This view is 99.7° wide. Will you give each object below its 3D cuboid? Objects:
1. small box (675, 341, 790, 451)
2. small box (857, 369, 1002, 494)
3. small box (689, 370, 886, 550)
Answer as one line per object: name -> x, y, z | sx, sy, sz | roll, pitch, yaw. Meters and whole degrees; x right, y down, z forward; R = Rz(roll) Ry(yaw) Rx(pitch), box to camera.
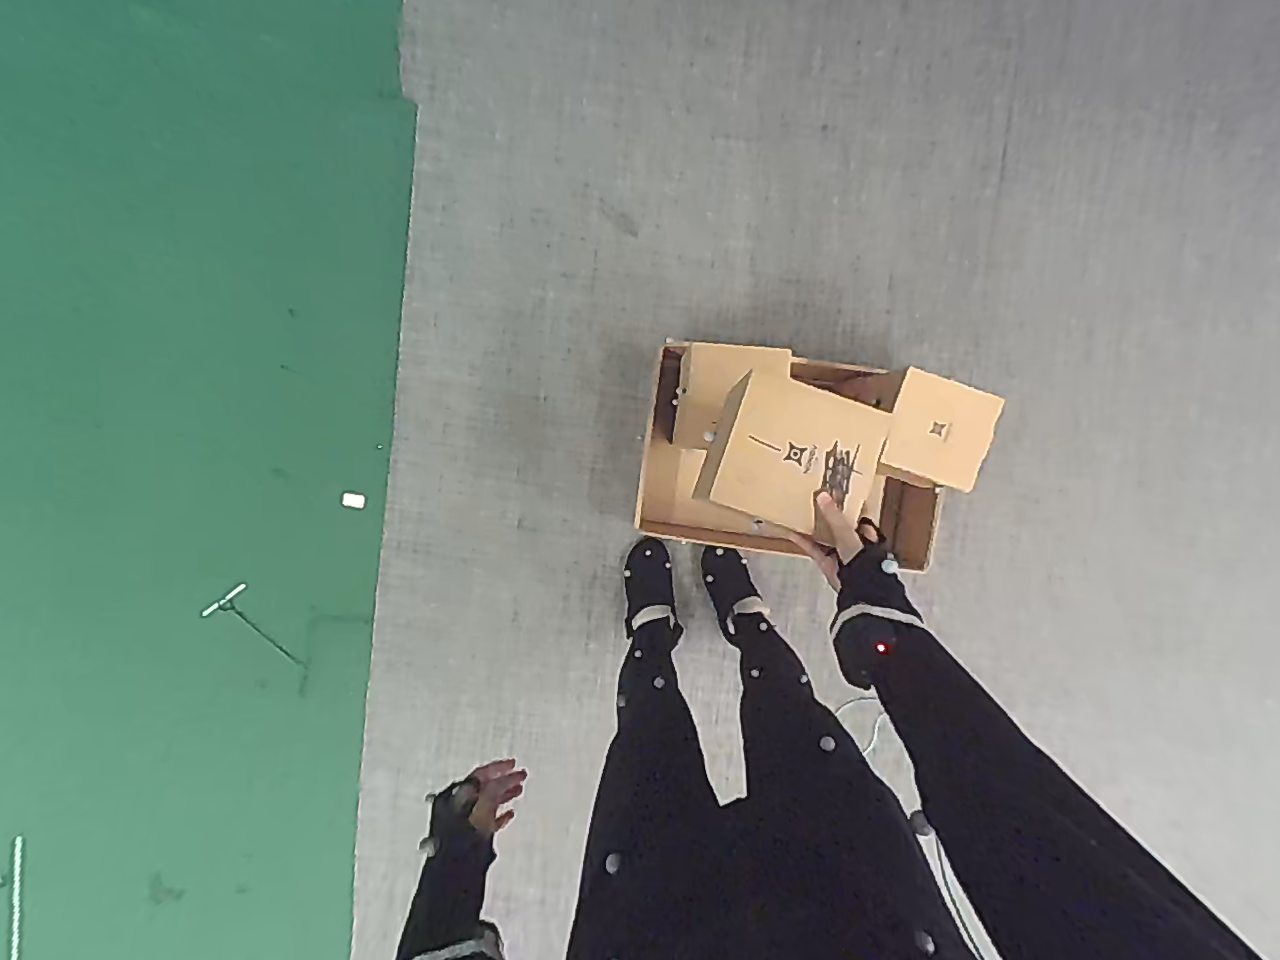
small box -> 0.153, -0.135, 0.956 | 0.168, 0.176, 0.179 | 5, 94, 0
small box -> 0.487, -0.084, 0.969 | 0.179, 0.176, 0.168 | 19, 94, -2
small box -> 0.176, -0.022, 0.699 | 0.179, 0.176, 0.168 | 20, 88, 1
